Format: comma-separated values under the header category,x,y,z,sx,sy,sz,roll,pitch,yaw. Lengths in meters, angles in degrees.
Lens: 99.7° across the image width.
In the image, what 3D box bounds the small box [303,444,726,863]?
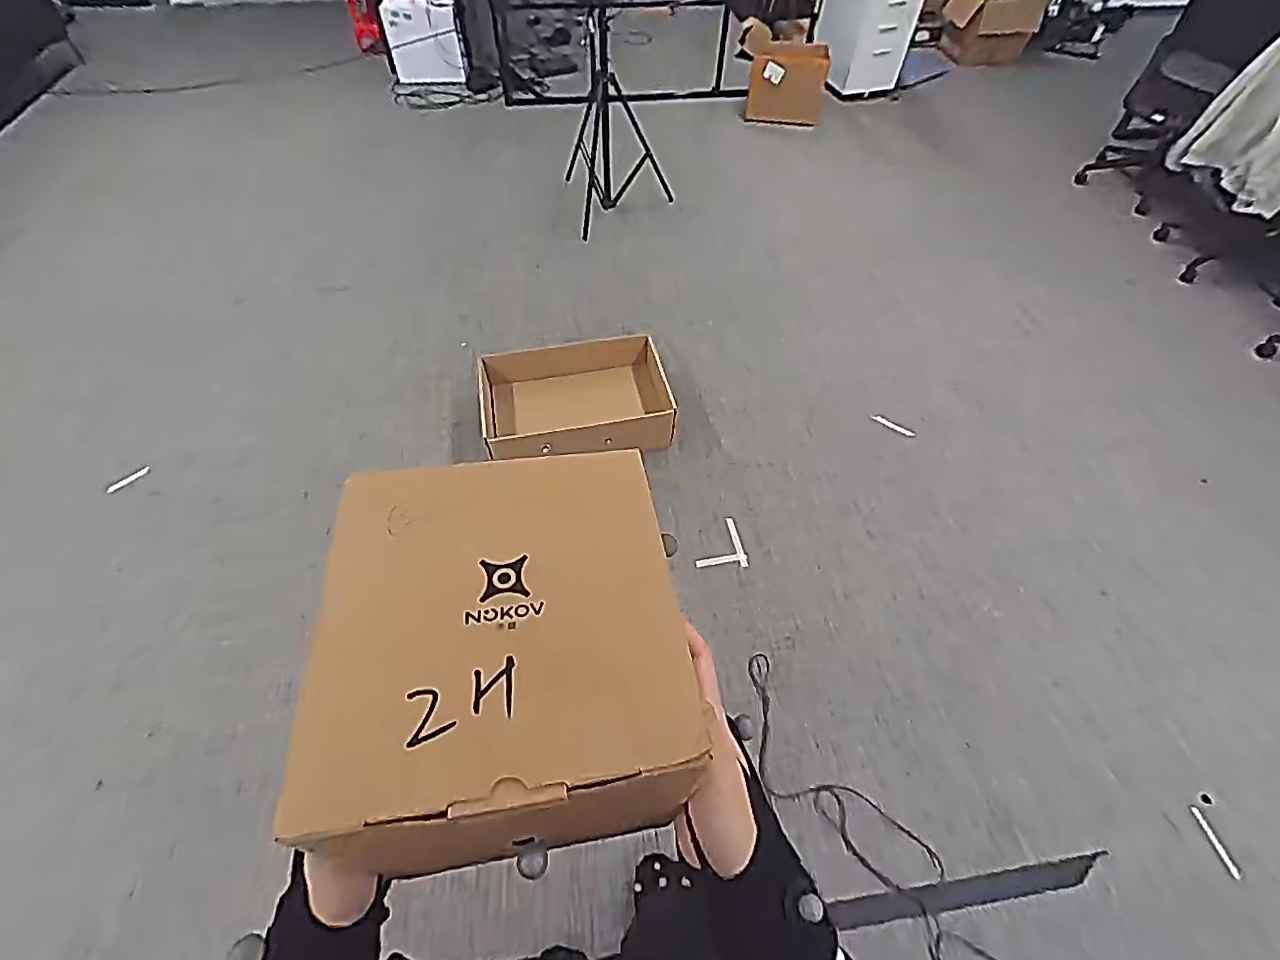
category,x,y,z,sx,sy,sz,roll,pitch,yaw
small box,-0.064,0.102,0.323,0.168,0.176,0.179,-6,51,-10
